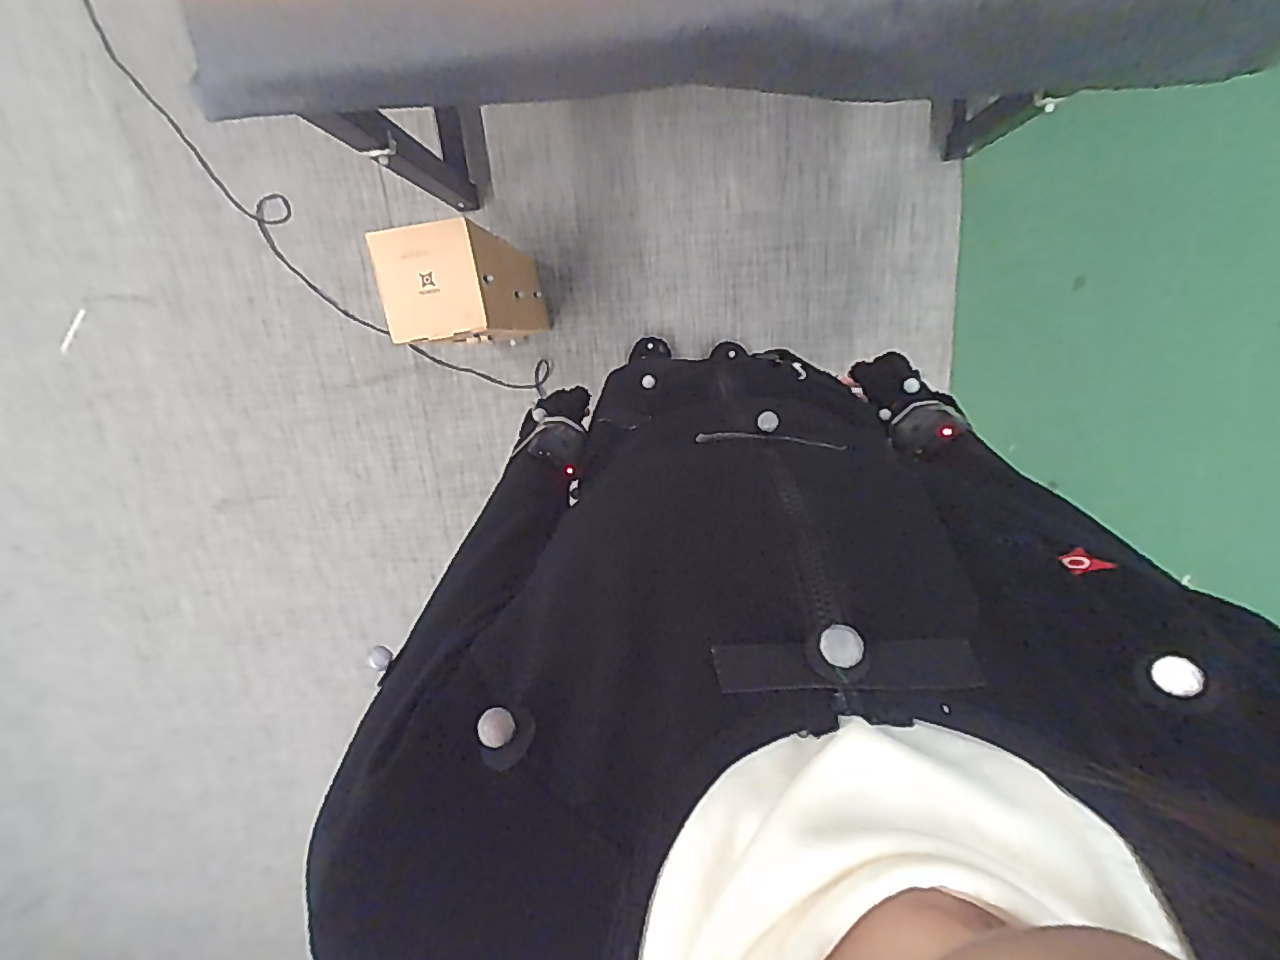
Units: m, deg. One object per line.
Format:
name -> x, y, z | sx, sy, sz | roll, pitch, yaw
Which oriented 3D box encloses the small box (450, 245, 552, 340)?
small box -> -0.316, -0.430, 1.264 | 0.168, 0.176, 0.179 | -11, 105, 6
